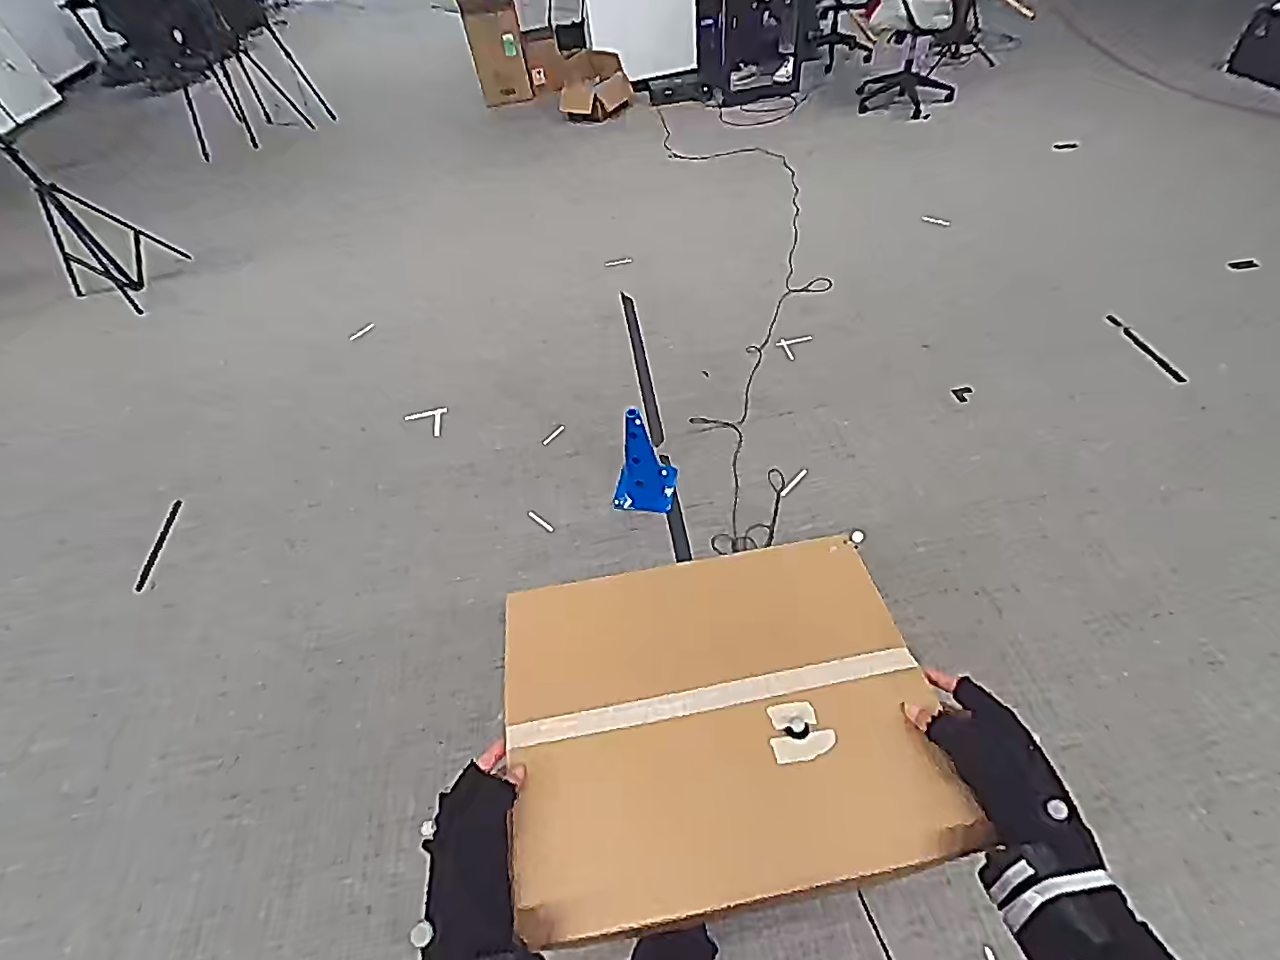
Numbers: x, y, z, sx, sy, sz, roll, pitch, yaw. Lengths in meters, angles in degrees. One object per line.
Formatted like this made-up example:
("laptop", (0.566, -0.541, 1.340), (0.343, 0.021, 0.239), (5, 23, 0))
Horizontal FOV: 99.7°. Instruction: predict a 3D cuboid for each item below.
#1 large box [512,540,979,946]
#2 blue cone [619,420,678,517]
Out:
("large box", (0.080, 0.317, 0.653), (0.408, 0.320, 0.320), (-10, 49, -3))
("blue cone", (0.009, -0.057, 1.745), (0.193, 0.380, 0.192), (5, 53, 14))
